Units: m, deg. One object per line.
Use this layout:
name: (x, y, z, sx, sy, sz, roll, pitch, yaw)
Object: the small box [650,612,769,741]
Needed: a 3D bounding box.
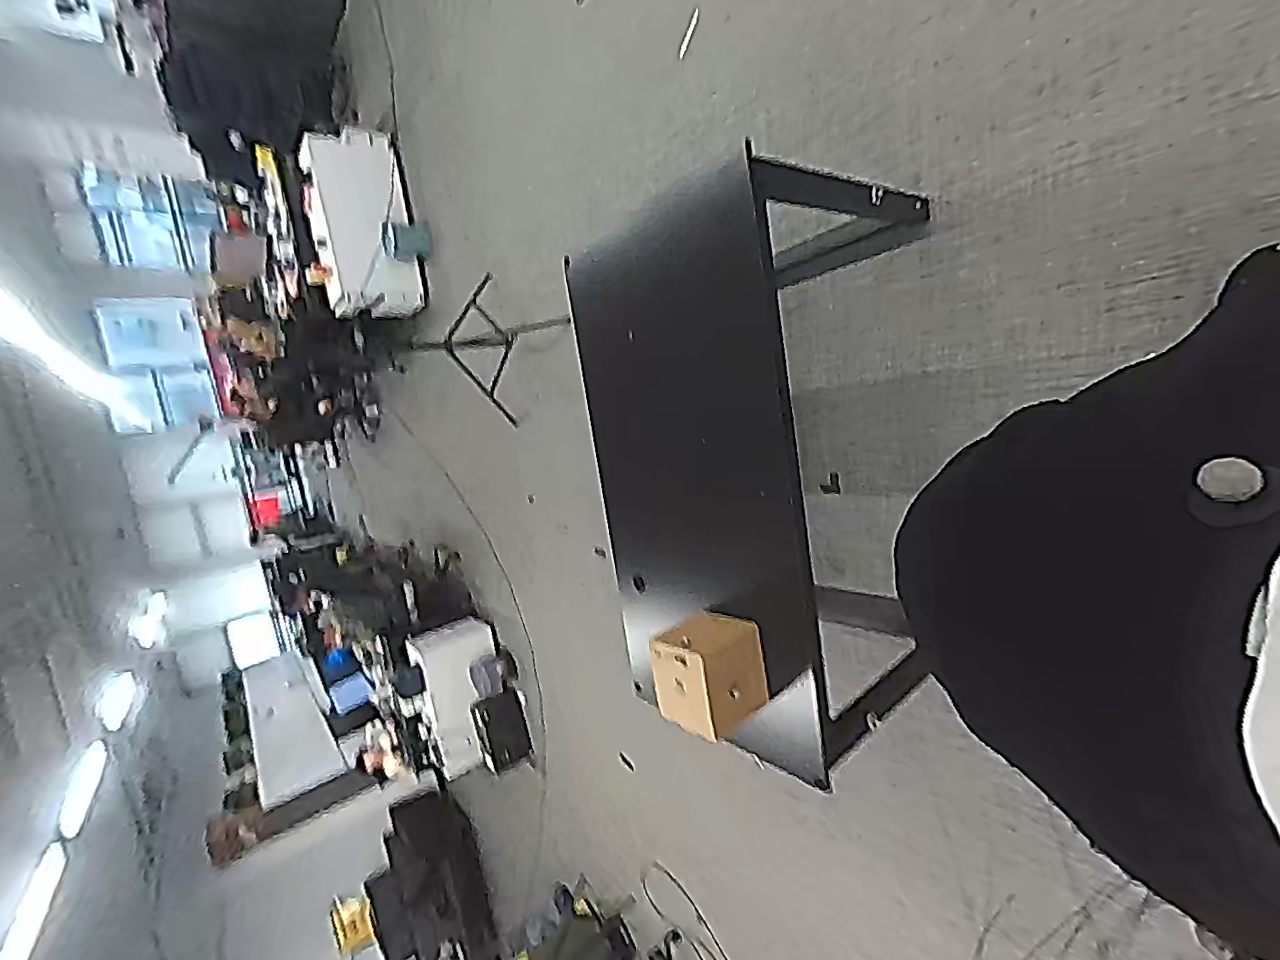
small box: (0.149, 0.398, 1.127, 0.168, 0.176, 0.179, -3, 100, 52)
